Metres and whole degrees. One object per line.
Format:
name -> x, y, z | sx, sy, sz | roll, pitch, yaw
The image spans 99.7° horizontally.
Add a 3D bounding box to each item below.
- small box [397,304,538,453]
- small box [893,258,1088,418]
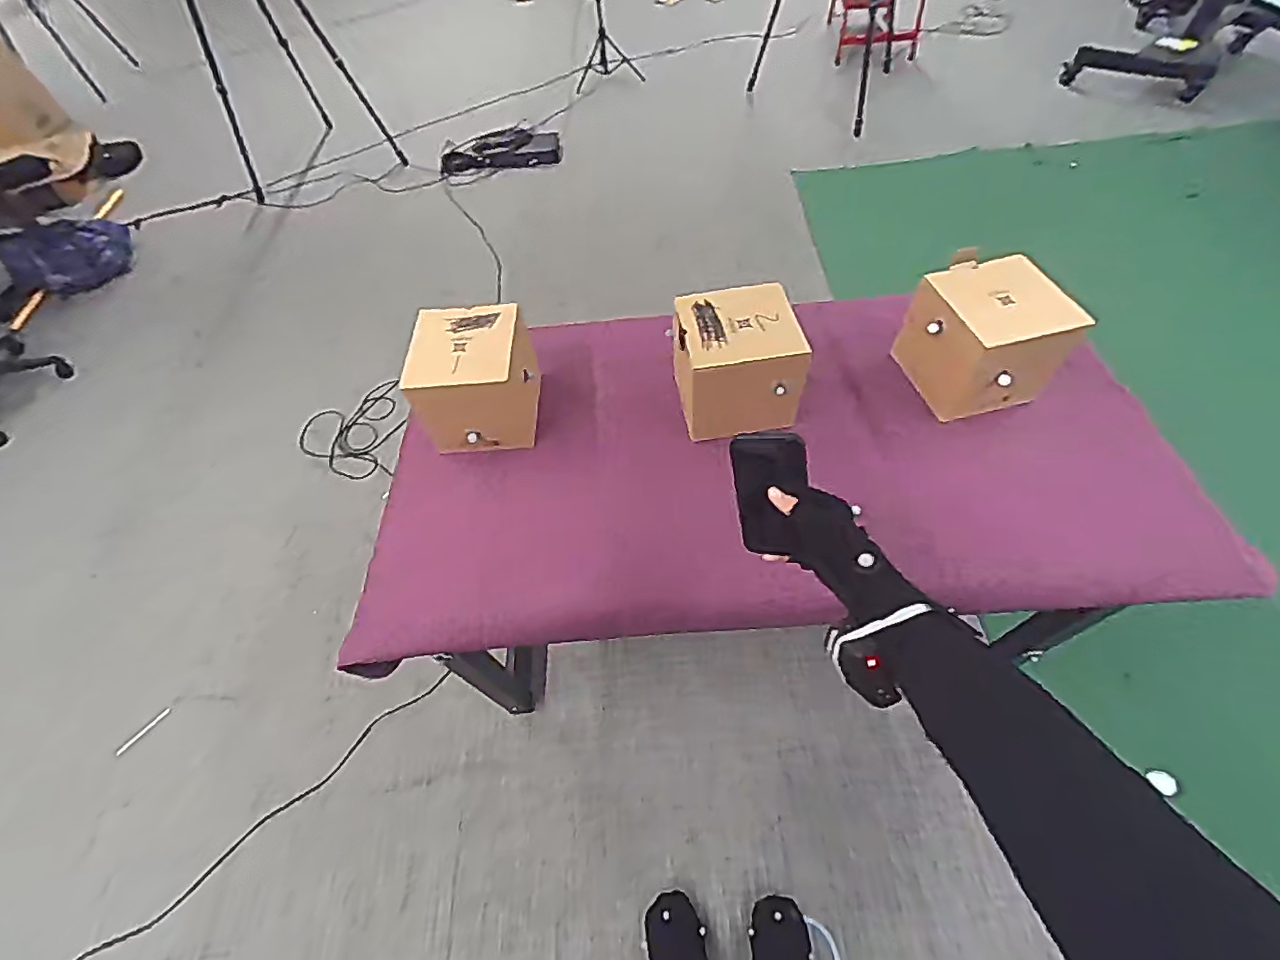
small box -> -0.272, -0.165, 0.898 | 0.168, 0.176, 0.179 | -3, 58, 3
small box -> 0.540, -0.218, 0.865 | 0.168, 0.176, 0.179 | -13, 55, -3
